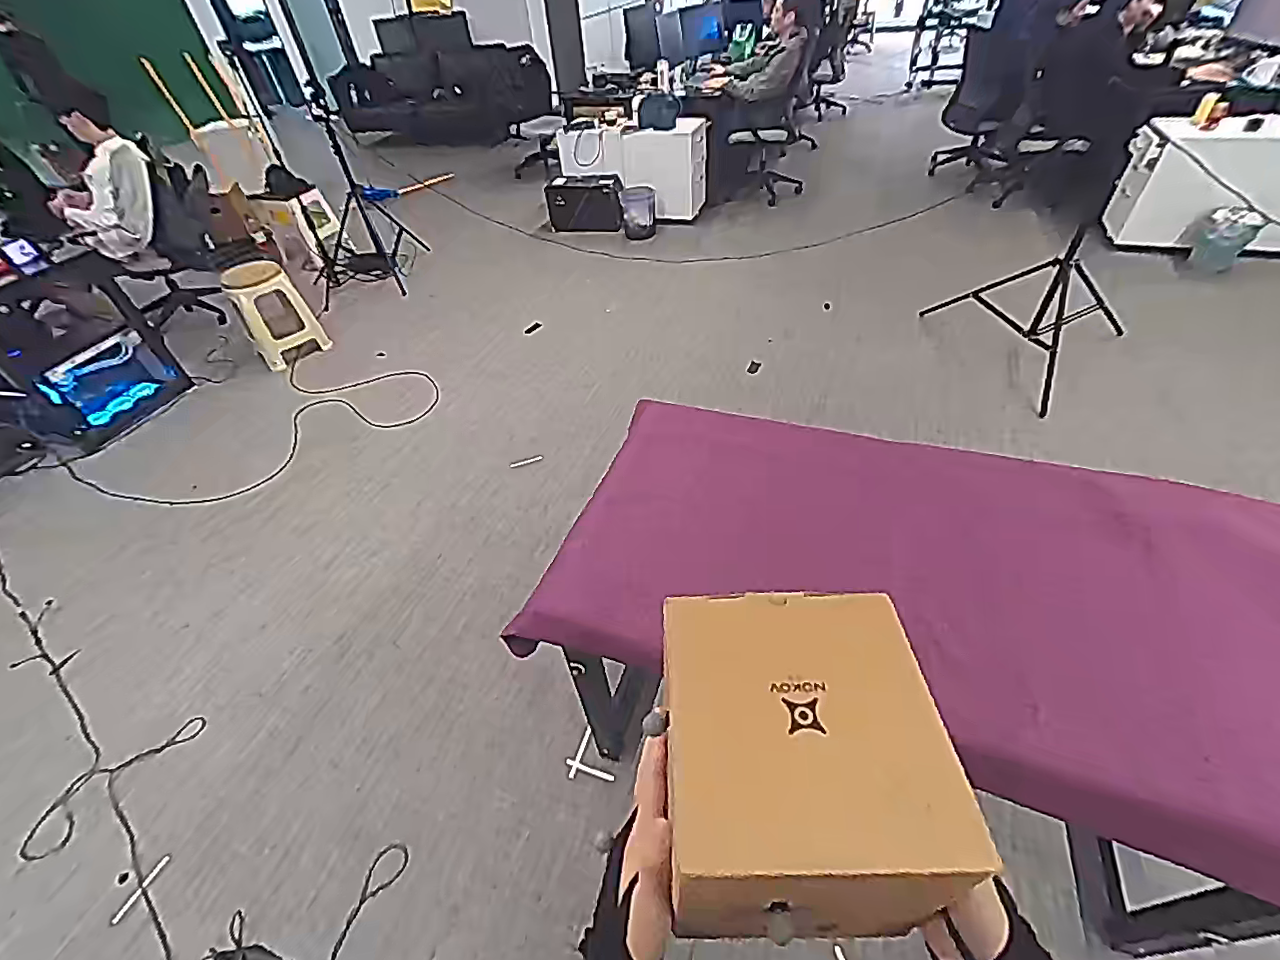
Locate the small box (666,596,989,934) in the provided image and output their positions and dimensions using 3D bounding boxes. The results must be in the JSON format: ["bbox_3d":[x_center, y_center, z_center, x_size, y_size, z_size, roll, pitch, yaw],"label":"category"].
[{"bbox_3d":[0.105,0.207,0.395,0.168,0.176,0.179,-1,40,1],"label":"small box"}]
